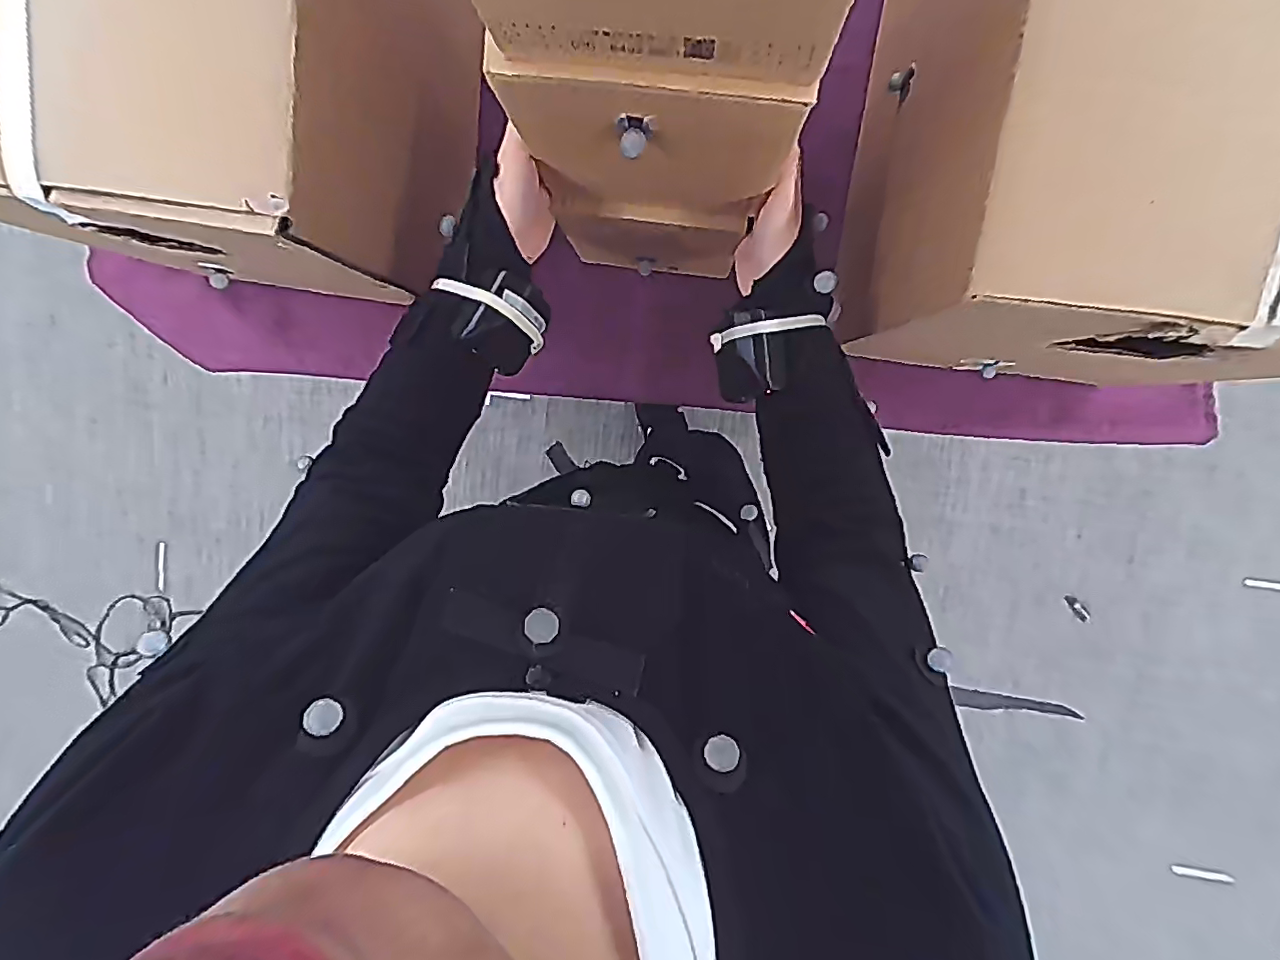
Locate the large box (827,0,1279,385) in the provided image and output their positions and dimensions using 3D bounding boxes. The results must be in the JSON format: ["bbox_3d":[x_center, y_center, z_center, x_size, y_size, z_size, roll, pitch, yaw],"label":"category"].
[{"bbox_3d":[0.364,-0.296,0.424,0.320,0.320,0.408,7,97,2],"label":"large box"}]
